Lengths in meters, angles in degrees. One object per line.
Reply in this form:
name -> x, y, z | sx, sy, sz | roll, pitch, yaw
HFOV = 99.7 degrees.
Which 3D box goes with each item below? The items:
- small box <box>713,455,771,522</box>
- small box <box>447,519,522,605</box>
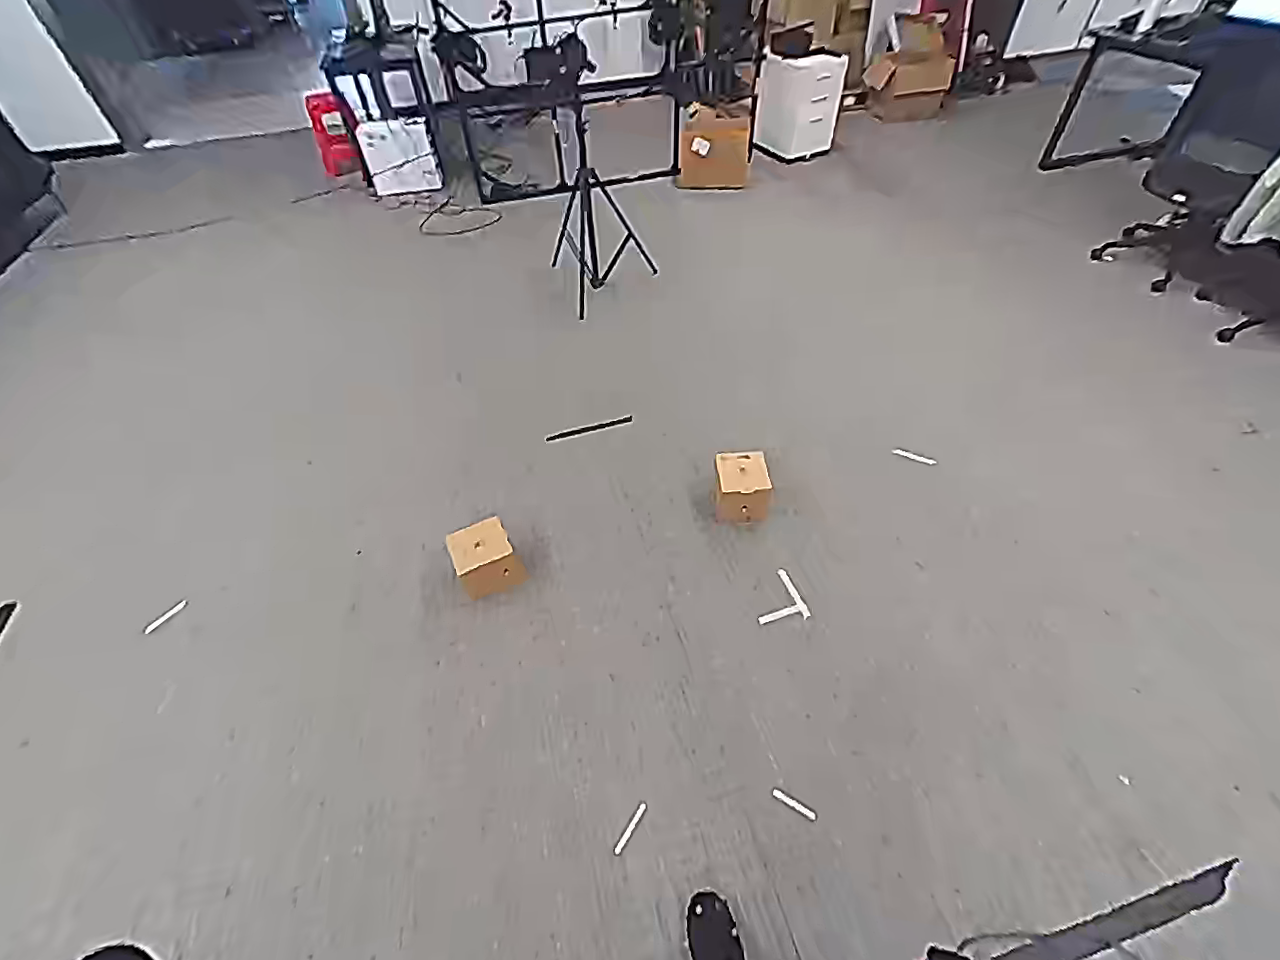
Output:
small box -> 0.347, 0.035, 1.864 | 0.168, 0.176, 0.179 | -3, 49, 0
small box -> -0.485, 0.261, 1.712 | 0.179, 0.176, 0.168 | -24, 50, -16
